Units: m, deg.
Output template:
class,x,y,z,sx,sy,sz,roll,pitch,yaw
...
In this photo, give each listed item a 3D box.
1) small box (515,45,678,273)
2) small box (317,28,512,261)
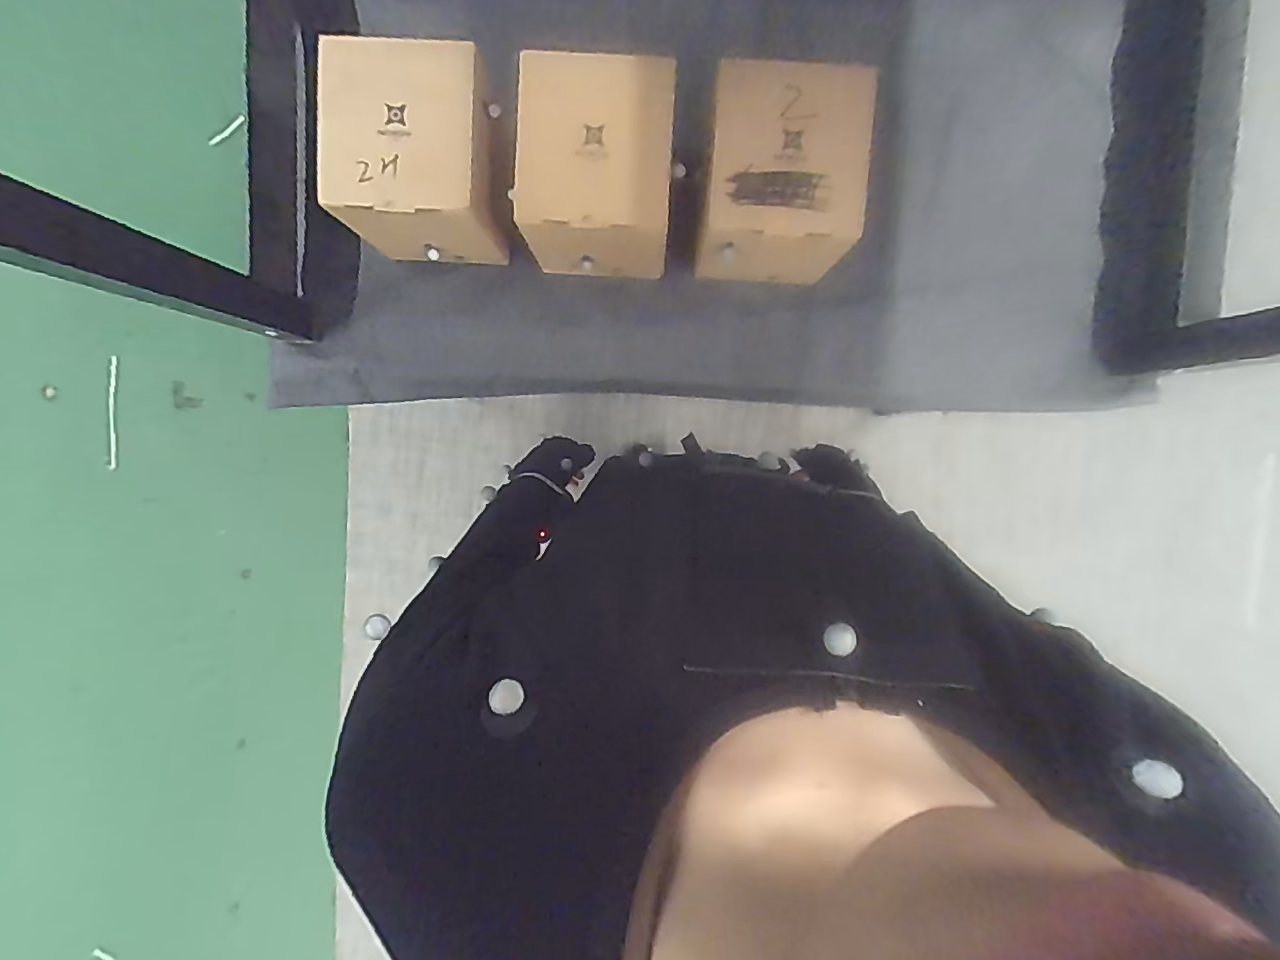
class,x,y,z,sx,sy,sz,roll,pitch,yaw
small box,-0.048,-0.368,0.650,0.168,0.176,0.179,3,94,0
small box,-0.255,-0.385,0.648,0.168,0.176,0.179,3,94,0
